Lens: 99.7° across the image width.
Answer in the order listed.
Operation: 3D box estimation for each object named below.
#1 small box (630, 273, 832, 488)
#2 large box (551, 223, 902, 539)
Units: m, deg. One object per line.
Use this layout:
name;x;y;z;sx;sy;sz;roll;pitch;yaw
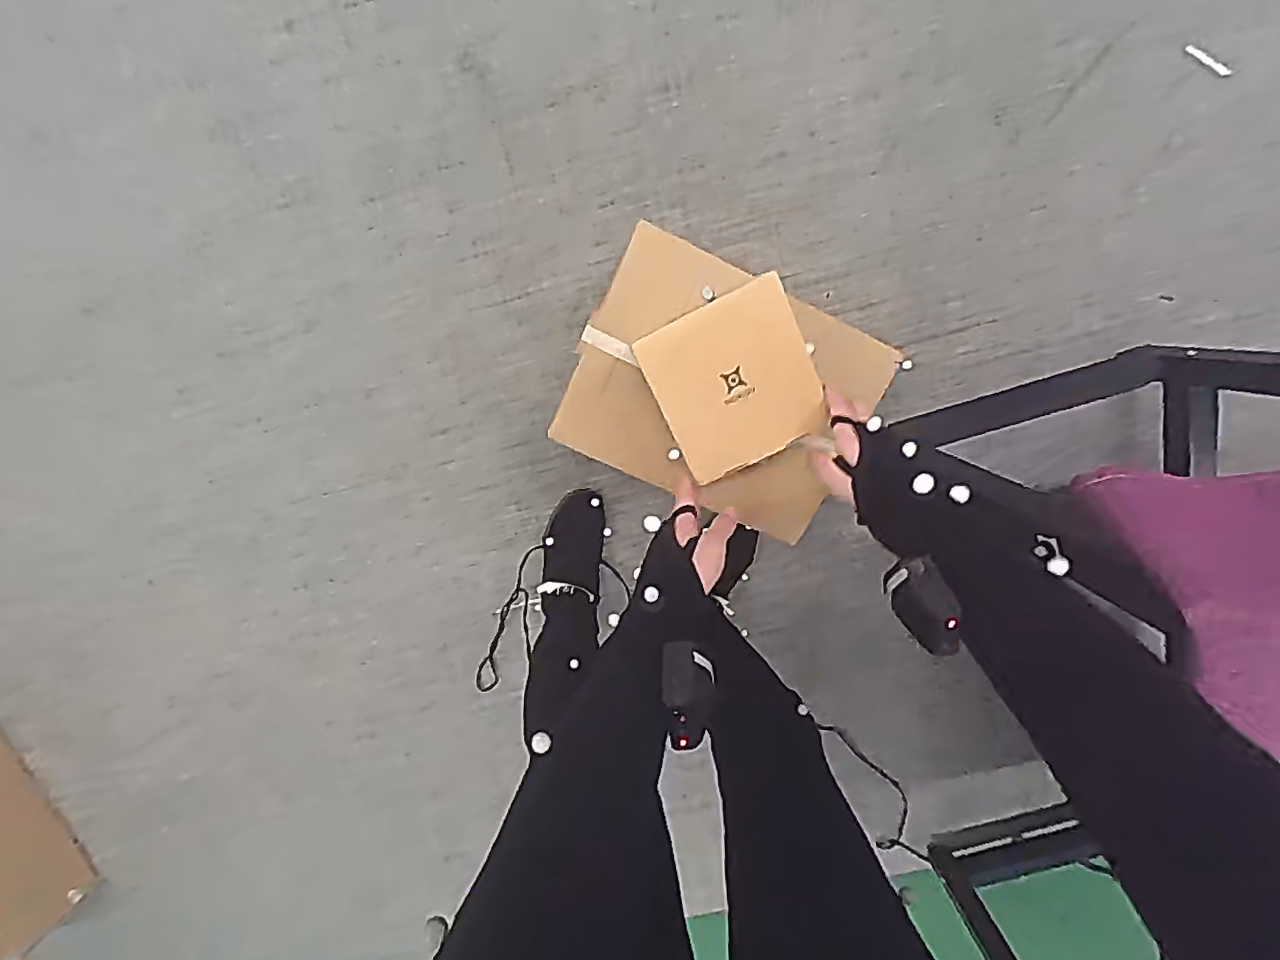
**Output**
small box;0.093;-0.119;0.636;0.168;0.176;0.179;-25;106;6
large box;0.108;-0.159;0.880;0.408;0.320;0.320;23;106;-9
